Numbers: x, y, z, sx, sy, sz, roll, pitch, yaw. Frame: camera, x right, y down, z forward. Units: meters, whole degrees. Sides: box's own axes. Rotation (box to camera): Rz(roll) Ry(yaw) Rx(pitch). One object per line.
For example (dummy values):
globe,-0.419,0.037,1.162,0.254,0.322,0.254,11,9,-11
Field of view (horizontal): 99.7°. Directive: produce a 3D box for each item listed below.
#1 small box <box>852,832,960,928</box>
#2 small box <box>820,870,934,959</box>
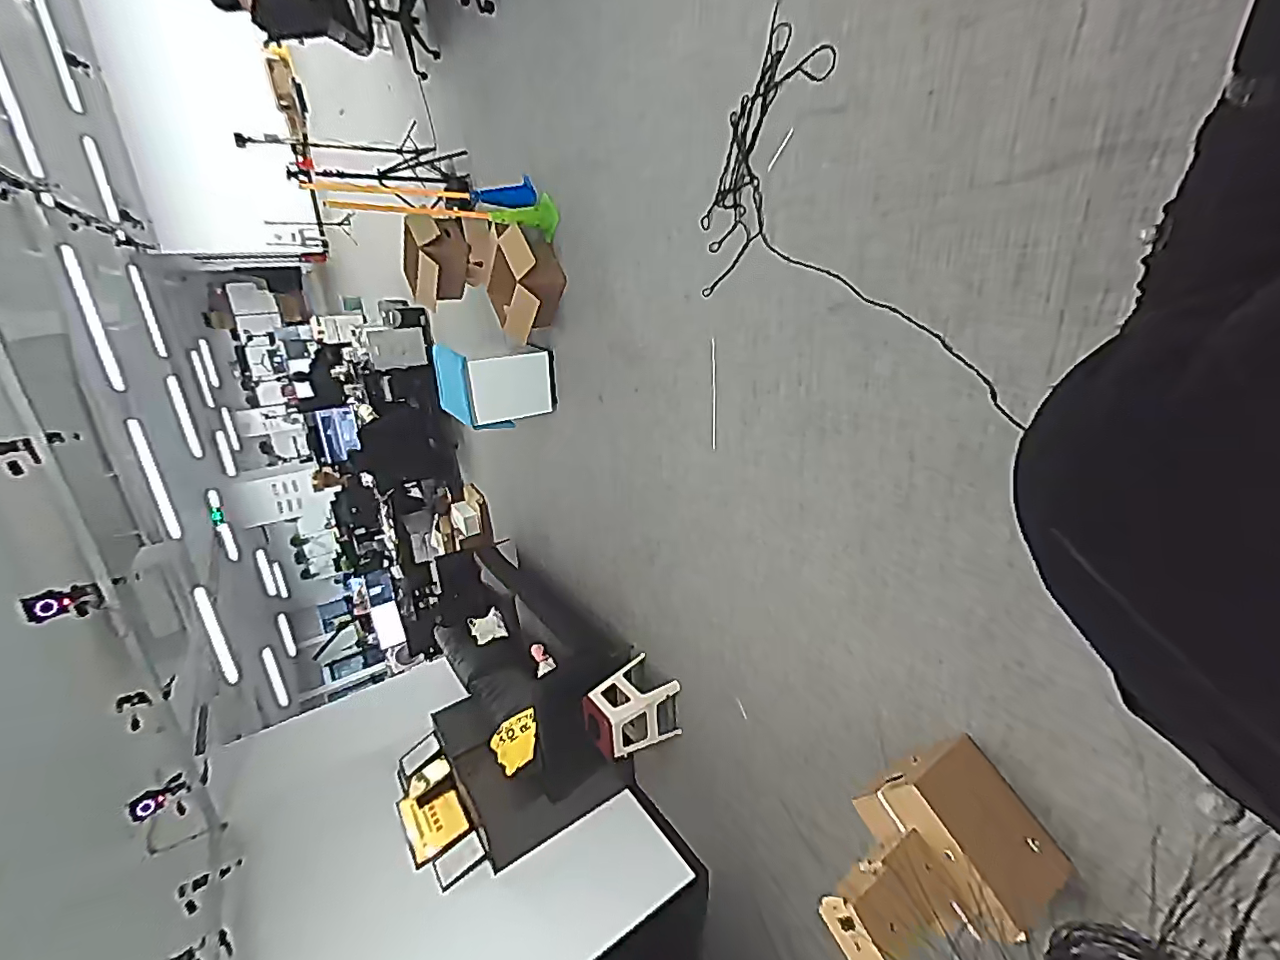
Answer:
small box,0.752,1.135,1.535,0.179,0.176,0.168,54,144,30
small box,0.626,1.171,1.433,0.179,0.176,0.168,55,144,25
